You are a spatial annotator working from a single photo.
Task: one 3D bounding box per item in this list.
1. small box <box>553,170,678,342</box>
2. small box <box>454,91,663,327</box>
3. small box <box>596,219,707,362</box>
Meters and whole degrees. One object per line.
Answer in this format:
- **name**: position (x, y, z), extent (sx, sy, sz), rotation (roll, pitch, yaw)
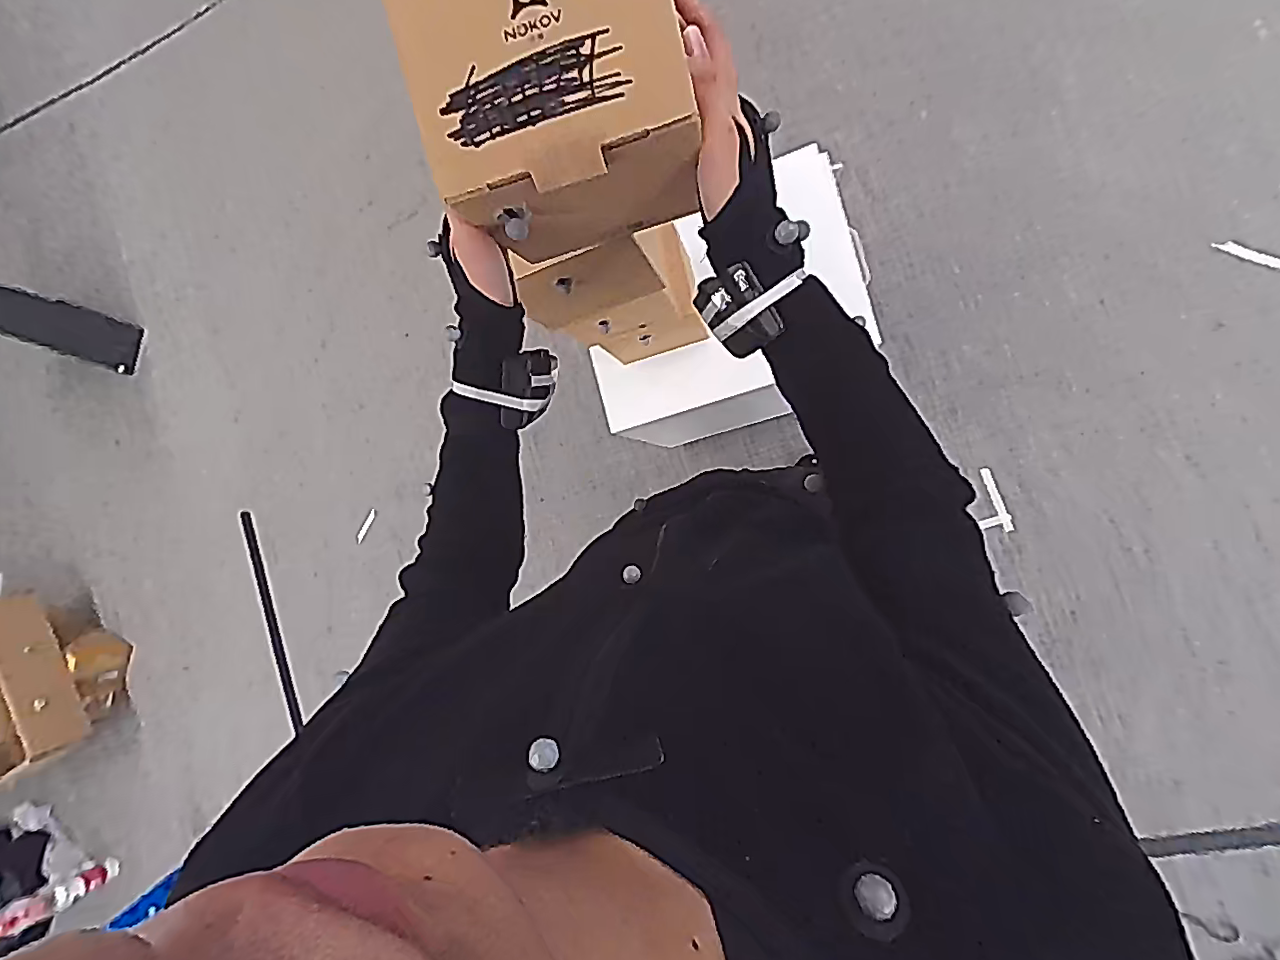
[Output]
- **small box**: position (-0.048, -0.319, 0.813), extent (0.168, 0.176, 0.179), rotation (-13, 86, 15)
- **small box**: position (-0.088, -0.305, 0.654), extent (0.179, 0.176, 0.168), rotation (-16, 86, 14)
- **small box**: position (0.010, -0.324, 0.966), extent (0.179, 0.176, 0.168), rotation (-15, 87, 14)
